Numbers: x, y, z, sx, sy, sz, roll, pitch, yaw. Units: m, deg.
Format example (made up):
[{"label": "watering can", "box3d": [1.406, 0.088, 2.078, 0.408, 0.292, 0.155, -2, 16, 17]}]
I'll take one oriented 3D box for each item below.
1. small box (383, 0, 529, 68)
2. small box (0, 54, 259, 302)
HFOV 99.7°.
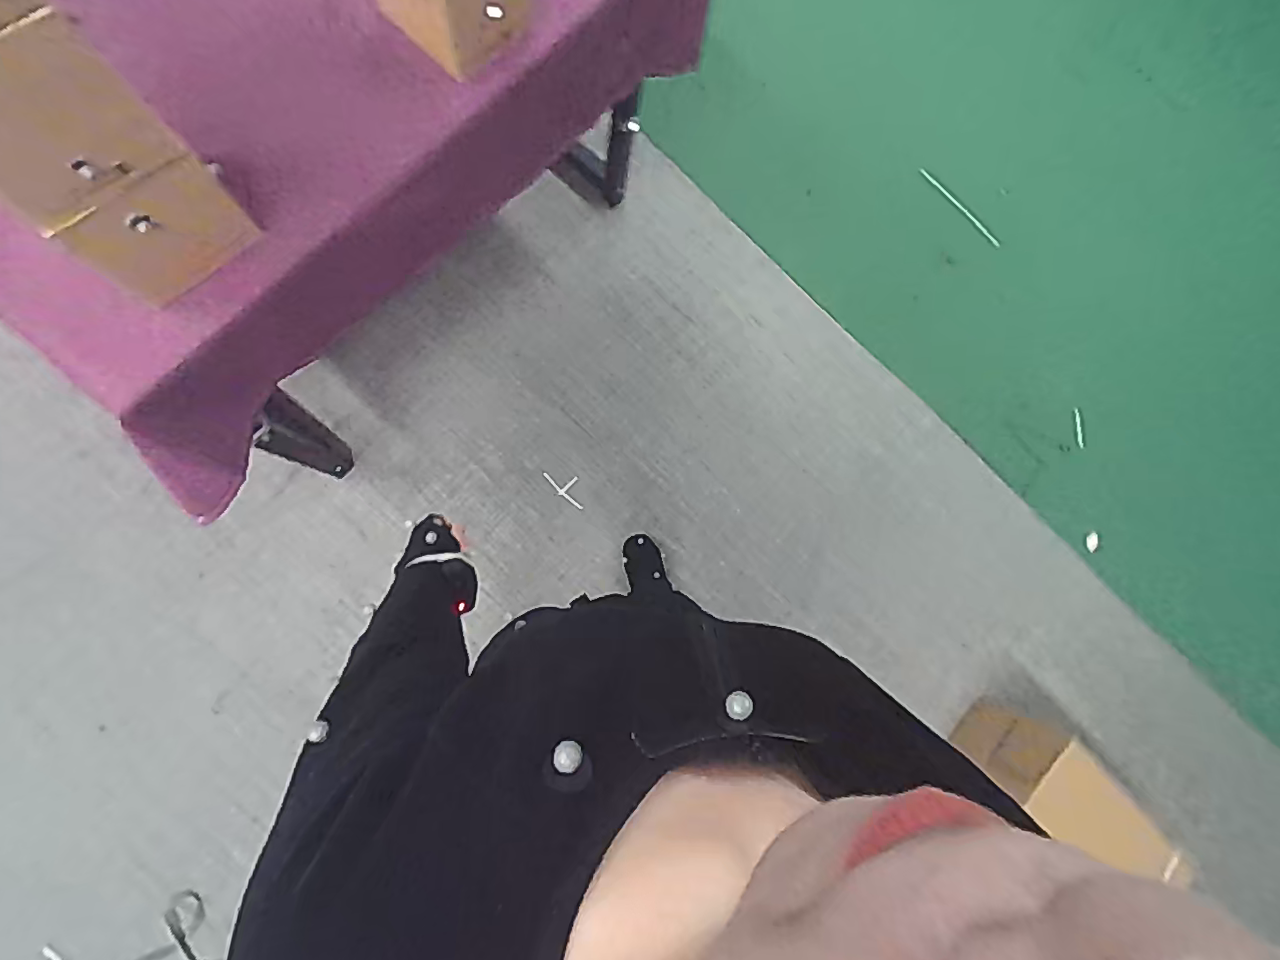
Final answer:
[{"label": "small box", "box3d": [-0.278, -0.757, 0.790, 0.179, 0.176, 0.168, 42, 78, 0]}, {"label": "small box", "box3d": [-0.640, -0.361, 0.679, 0.168, 0.176, 0.179, 45, 77, 0]}]
